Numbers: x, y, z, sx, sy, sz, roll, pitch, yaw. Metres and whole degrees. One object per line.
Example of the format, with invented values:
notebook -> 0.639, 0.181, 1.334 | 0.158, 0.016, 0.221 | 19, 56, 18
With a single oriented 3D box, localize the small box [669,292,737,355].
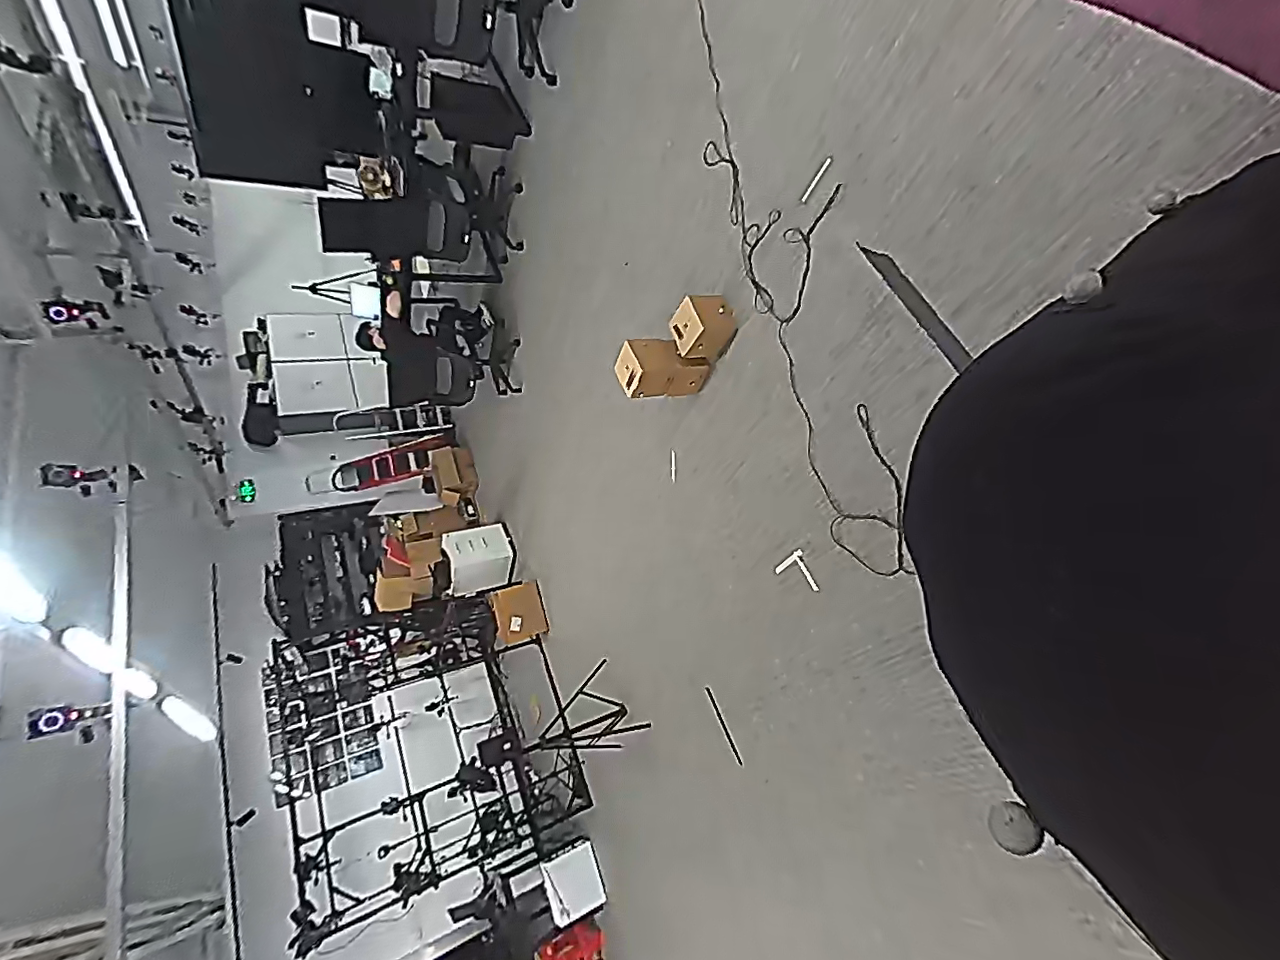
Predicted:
small box -> 0.245, -0.606, 2.100 | 0.179, 0.176, 0.168 | -49, 57, 54

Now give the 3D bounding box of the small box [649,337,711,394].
small box -> 0.168, -0.484, 2.284 | 0.179, 0.176, 0.168 | 61, 146, 29
